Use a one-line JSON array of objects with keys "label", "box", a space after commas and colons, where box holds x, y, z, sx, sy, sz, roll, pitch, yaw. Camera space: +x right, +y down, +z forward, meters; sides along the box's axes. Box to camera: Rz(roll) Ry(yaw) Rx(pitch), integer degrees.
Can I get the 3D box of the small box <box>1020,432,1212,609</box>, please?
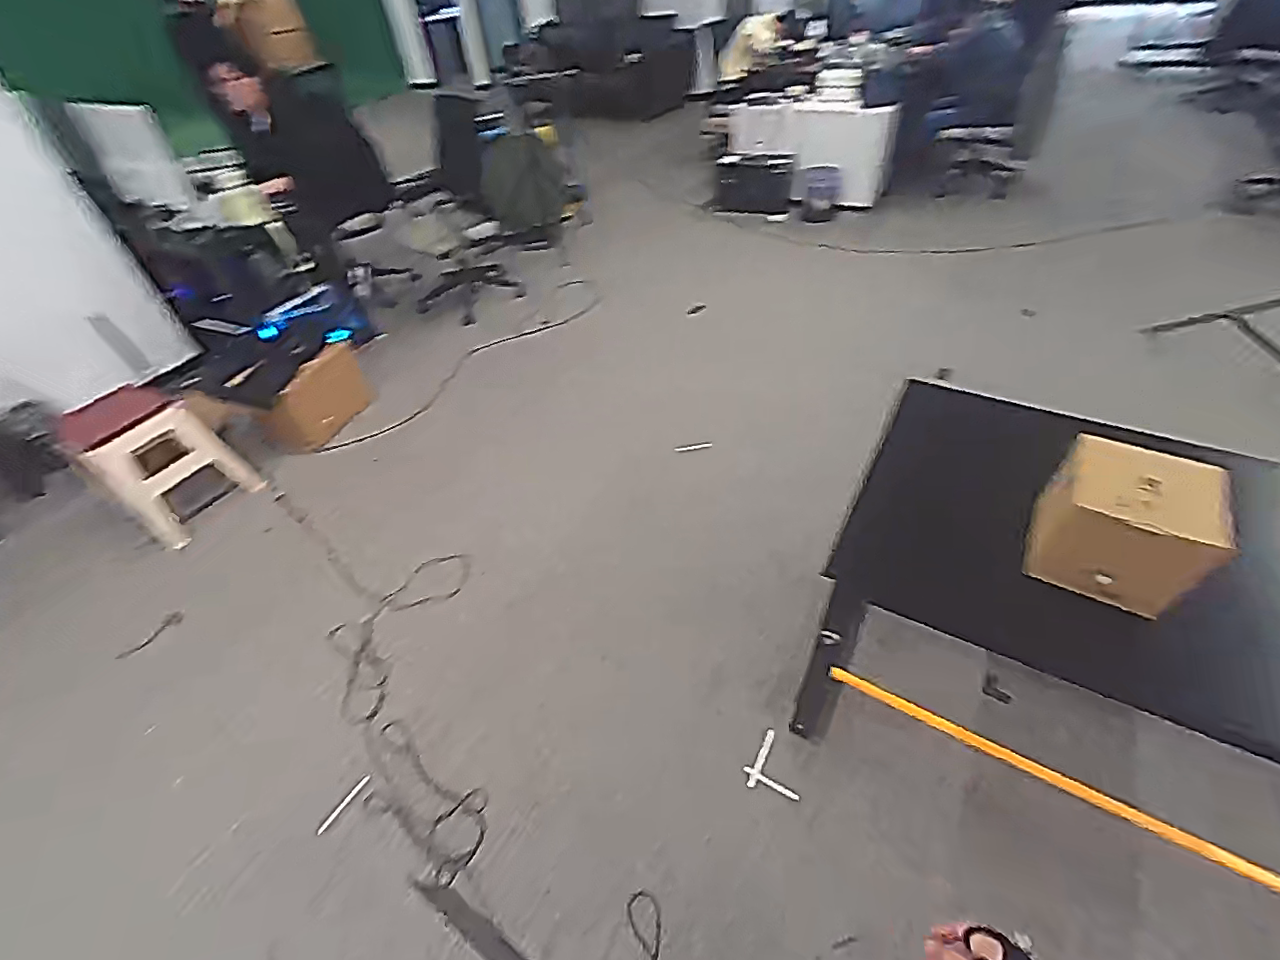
[{"label": "small box", "box": [0.715, 0.060, 0.829, 0.168, 0.176, 0.179, 21, 51, 26]}]
